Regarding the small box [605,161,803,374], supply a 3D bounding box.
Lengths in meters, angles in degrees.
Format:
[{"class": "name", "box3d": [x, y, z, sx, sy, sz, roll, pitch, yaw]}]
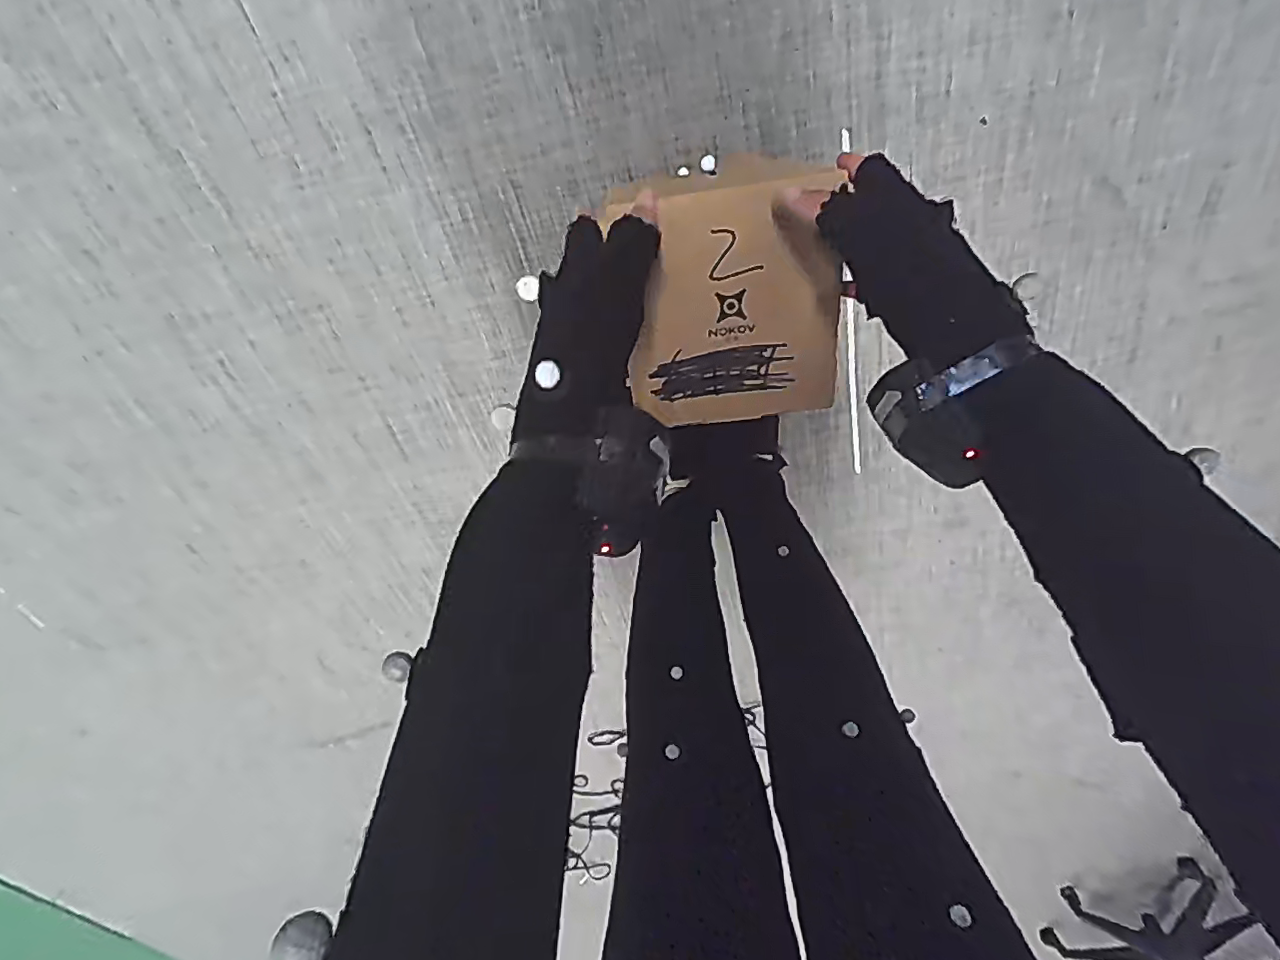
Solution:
[{"class": "small box", "box3d": [0.068, -0.248, 0.619, 0.179, 0.176, 0.168, -15, 121, 9]}]
